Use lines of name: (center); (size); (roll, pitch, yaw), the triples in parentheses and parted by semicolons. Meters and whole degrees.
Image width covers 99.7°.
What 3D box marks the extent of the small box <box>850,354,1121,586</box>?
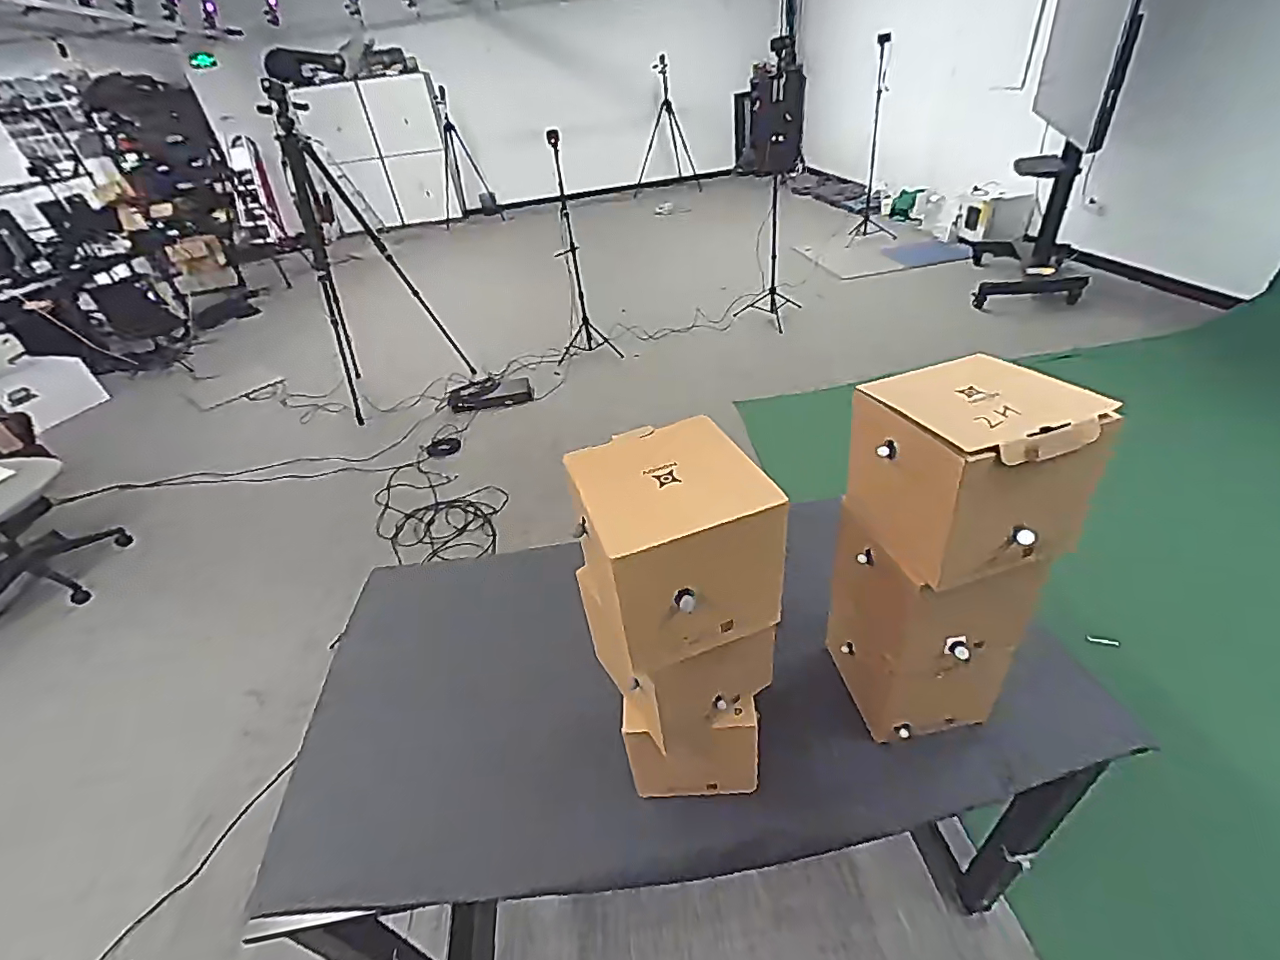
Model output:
small box: (0.350, -0.015, 0.593); (0.168, 0.176, 0.179); (-16, 35, -7)

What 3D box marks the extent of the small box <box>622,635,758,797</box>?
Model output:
small box: (0.069, 0.314, 0.761); (0.168, 0.176, 0.179); (-5, 35, 5)

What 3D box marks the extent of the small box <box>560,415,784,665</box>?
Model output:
small box: (0.031, 0.063, 0.555); (0.168, 0.176, 0.179); (-18, 37, -12)

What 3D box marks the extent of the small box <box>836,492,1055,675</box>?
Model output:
small box: (0.368, 0.114, 0.694); (0.168, 0.176, 0.179); (-14, 36, -5)

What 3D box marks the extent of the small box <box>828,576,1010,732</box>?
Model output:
small box: (0.389, 0.243, 0.790); (0.168, 0.176, 0.179); (-11, 34, -2)
